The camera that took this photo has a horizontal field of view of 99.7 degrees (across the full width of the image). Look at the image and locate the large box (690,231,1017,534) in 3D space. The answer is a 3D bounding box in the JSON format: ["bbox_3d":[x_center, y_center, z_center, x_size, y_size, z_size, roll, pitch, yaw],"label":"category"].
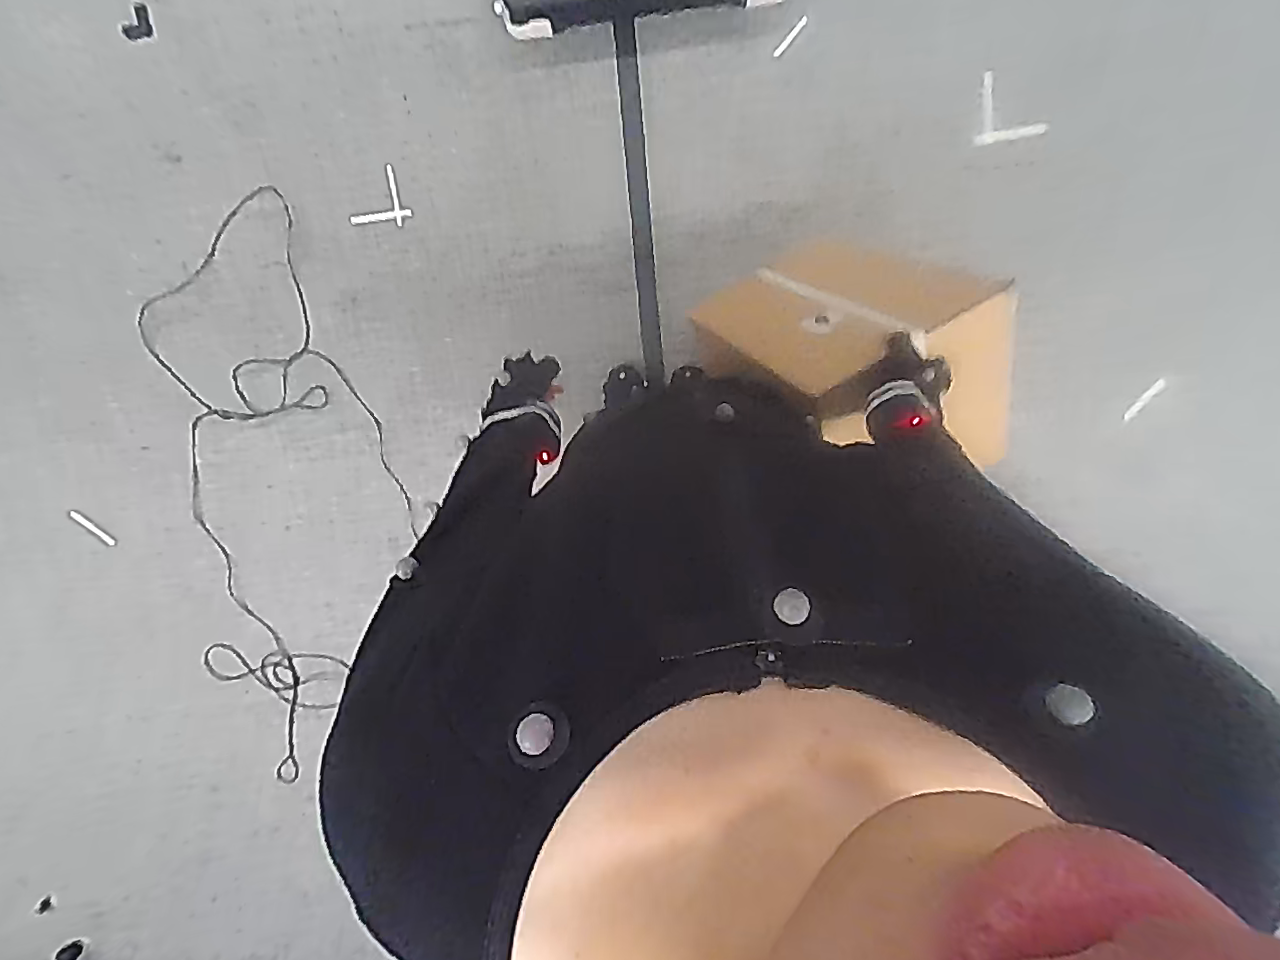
[{"bbox_3d":[0.341,-0.186,0.940,0.320,0.408,0.320,-30,129,-3],"label":"large box"}]
